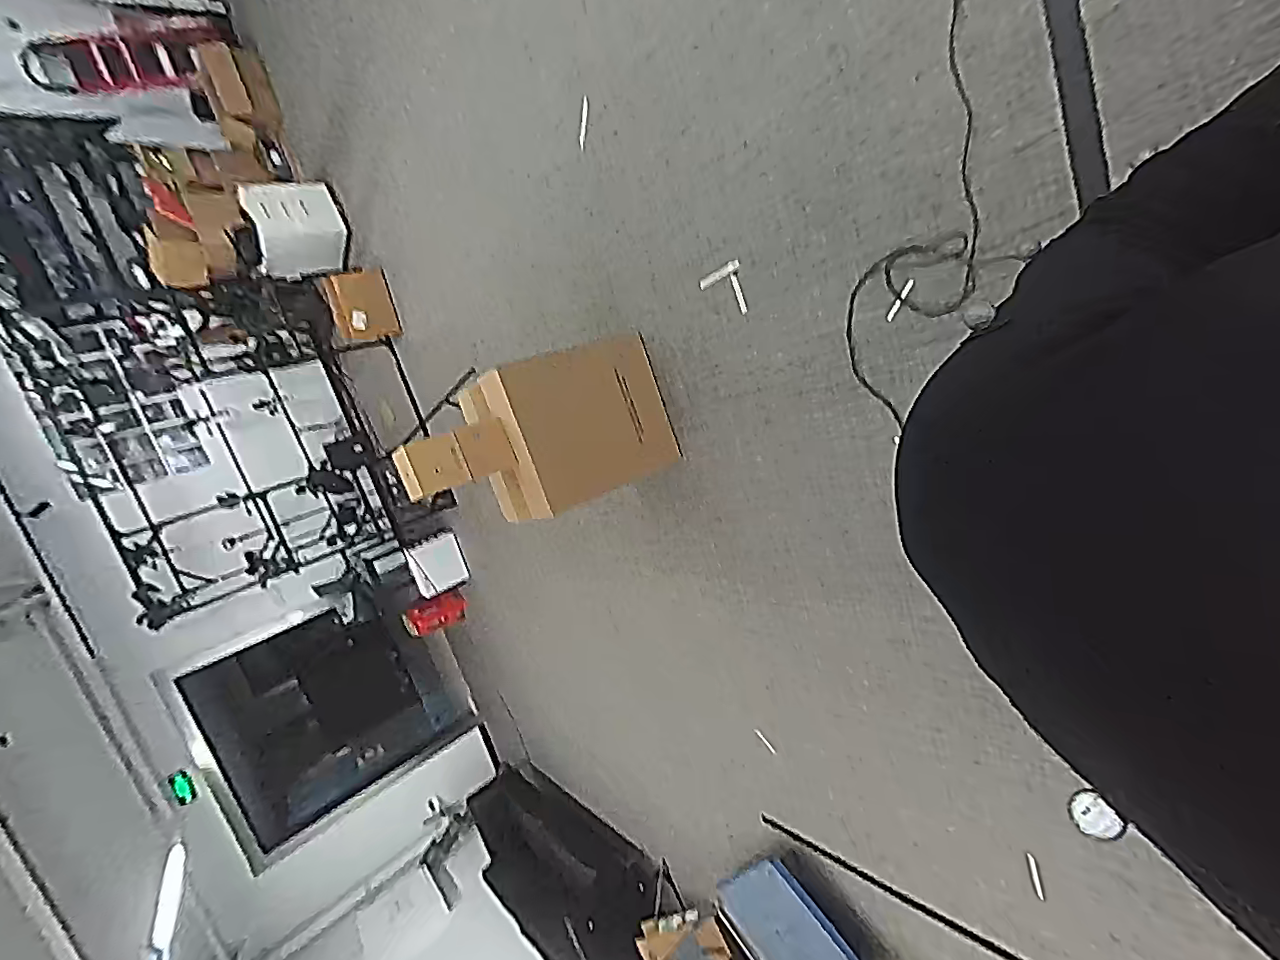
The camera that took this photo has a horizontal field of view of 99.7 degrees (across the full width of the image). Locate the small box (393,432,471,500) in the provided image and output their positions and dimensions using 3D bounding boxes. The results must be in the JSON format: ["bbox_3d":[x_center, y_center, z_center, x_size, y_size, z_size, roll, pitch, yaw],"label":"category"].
[{"bbox_3d":[-0.669,-0.046,1.752,0.179,0.176,0.168,-13,100,55],"label":"small box"}]
